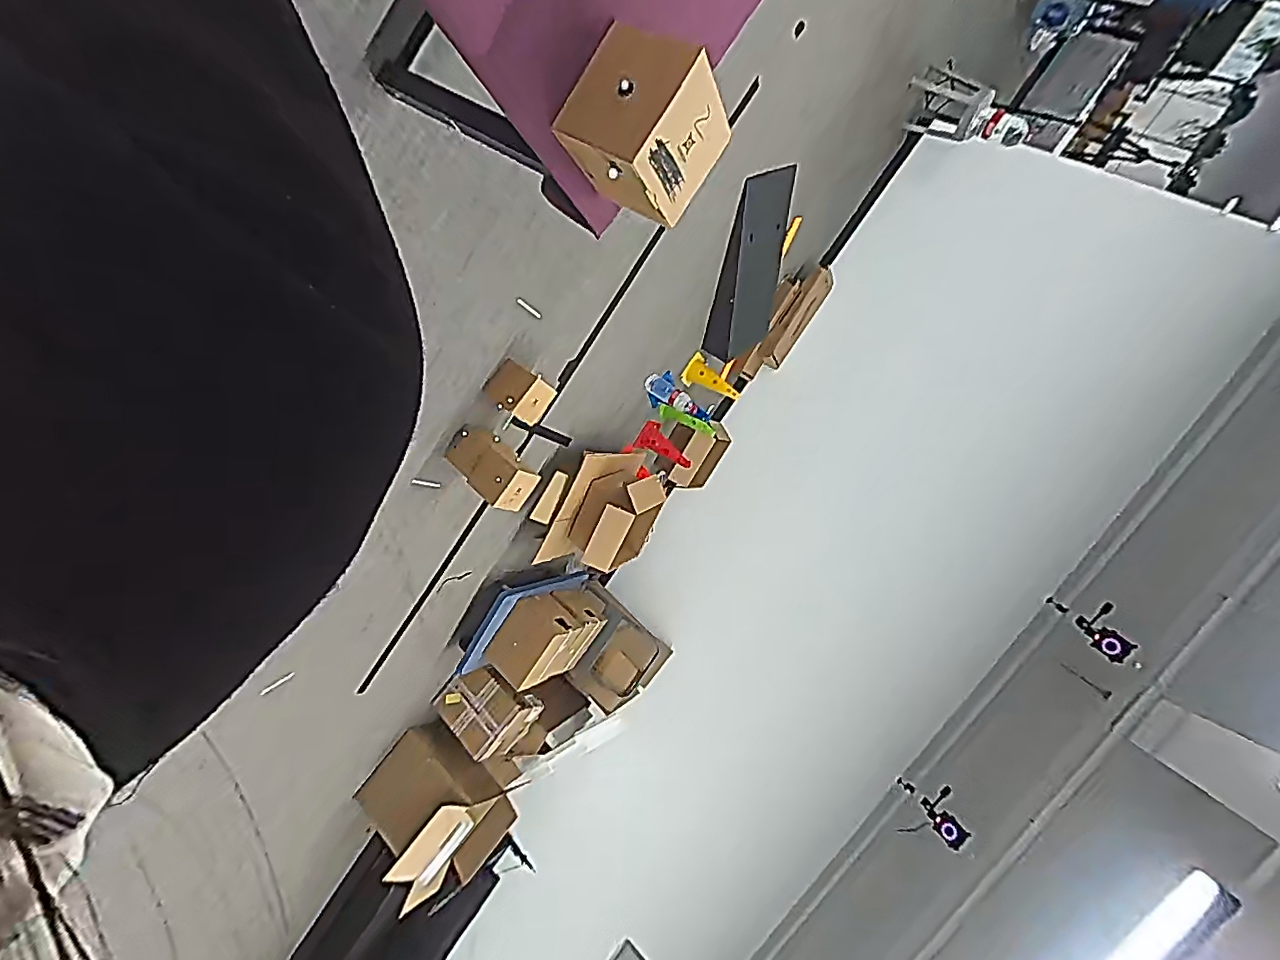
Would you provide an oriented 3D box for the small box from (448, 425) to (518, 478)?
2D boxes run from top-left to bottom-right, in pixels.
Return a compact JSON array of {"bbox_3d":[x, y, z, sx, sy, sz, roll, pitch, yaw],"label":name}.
[{"bbox_3d":[-0.637,-0.102,2.180,0.168,0.176,0.179,-55,159,7],"label":"small box"}]

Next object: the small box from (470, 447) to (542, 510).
[{"bbox_3d":[-0.525,-0.007,2.103,0.179,0.176,0.168,-53,158,5],"label":"small box"}]

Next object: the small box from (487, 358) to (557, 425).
[{"bbox_3d":[-0.470,-0.351,2.134,0.179,0.176,0.168,-53,159,1],"label":"small box"}]
